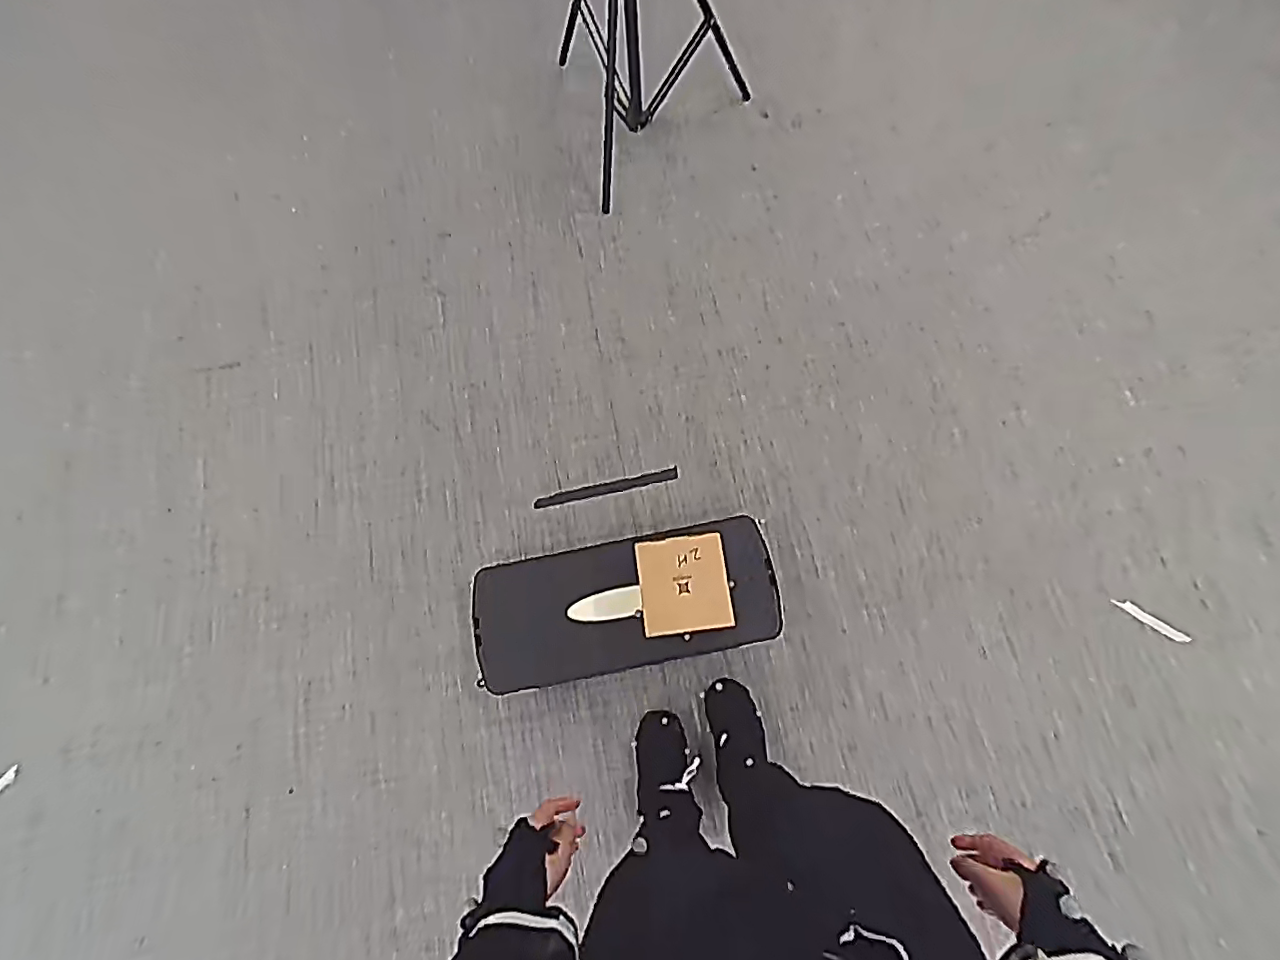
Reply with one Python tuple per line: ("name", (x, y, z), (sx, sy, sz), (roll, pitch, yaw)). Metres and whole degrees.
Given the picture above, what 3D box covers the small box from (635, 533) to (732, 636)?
("small box", (0.083, 0.212, 1.082), (0.168, 0.176, 0.179), (-7, 74, 1))
